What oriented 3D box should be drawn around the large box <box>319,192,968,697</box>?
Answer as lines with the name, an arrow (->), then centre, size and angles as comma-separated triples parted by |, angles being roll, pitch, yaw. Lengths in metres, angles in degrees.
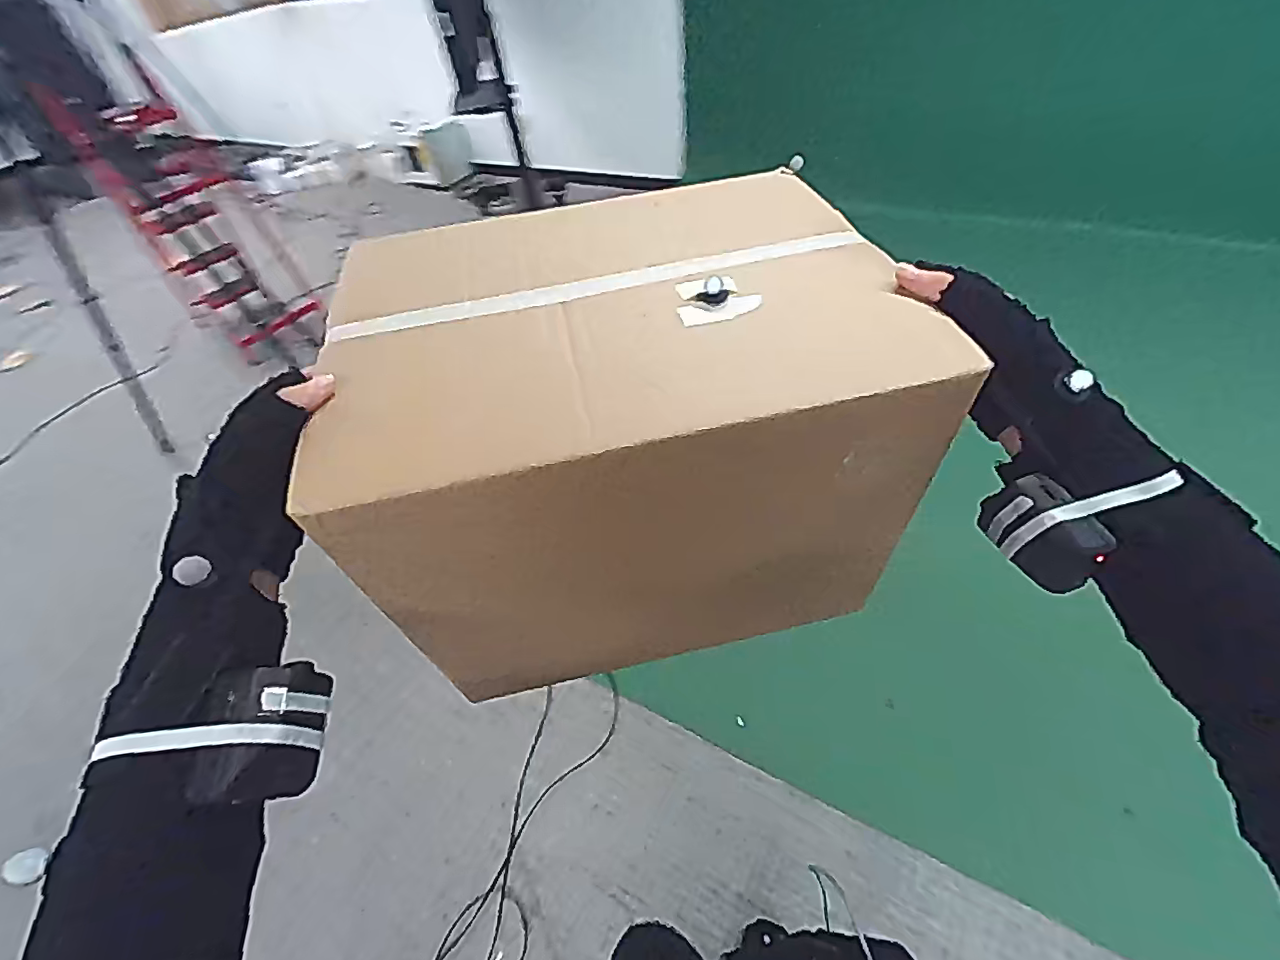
large box -> -0.010, -0.032, 0.524 | 0.408, 0.320, 0.320 | -11, 51, -5
